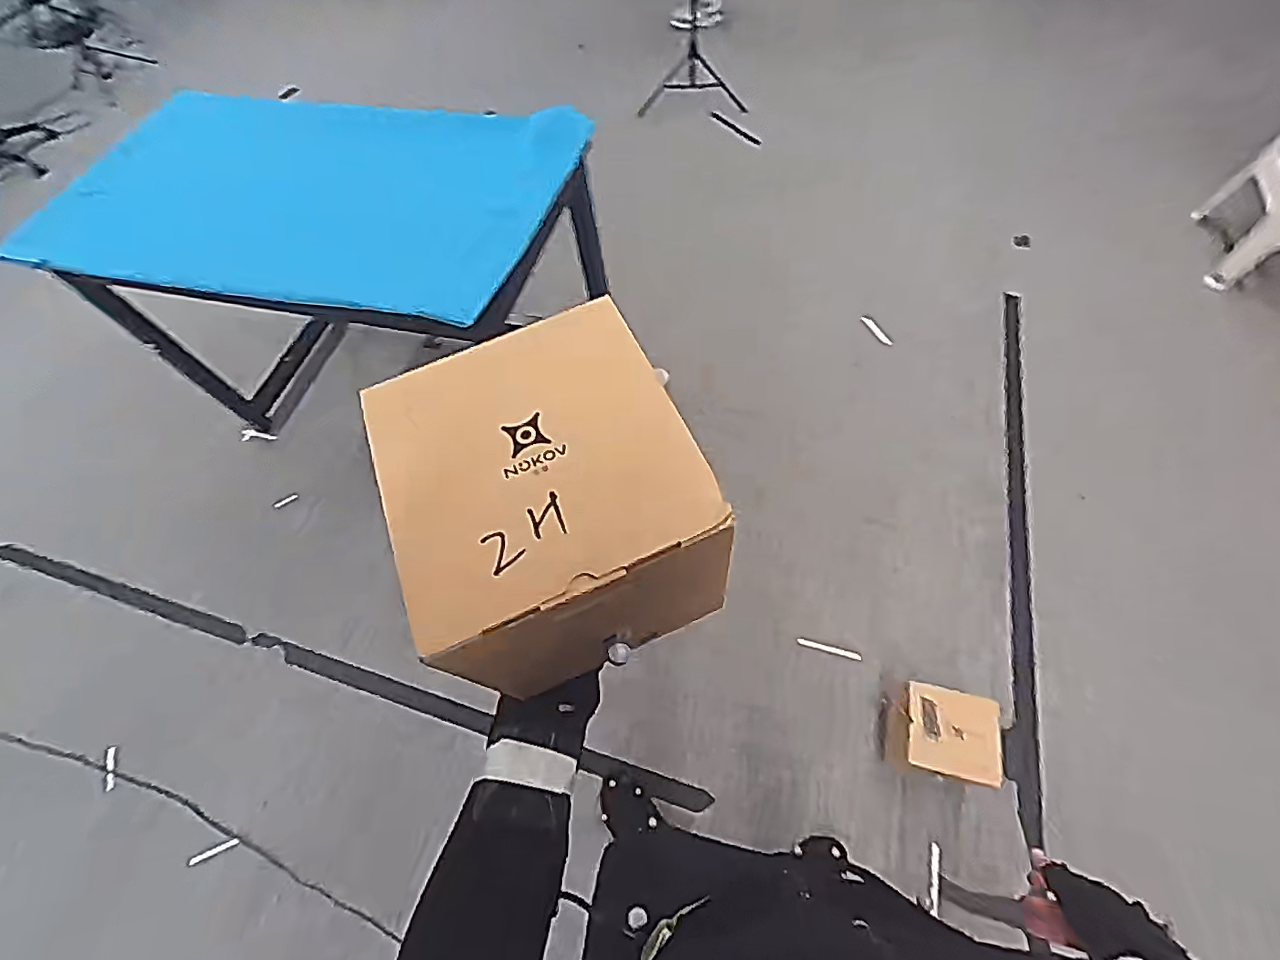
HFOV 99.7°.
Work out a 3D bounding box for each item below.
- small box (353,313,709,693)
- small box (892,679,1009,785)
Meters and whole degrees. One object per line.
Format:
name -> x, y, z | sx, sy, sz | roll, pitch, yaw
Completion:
small box -> -0.063, 0.027, 0.369 | 0.168, 0.176, 0.179 | -21, 65, -3
small box -> 0.664, 0.548, 1.173 | 0.179, 0.176, 0.168 | 11, 64, 12
